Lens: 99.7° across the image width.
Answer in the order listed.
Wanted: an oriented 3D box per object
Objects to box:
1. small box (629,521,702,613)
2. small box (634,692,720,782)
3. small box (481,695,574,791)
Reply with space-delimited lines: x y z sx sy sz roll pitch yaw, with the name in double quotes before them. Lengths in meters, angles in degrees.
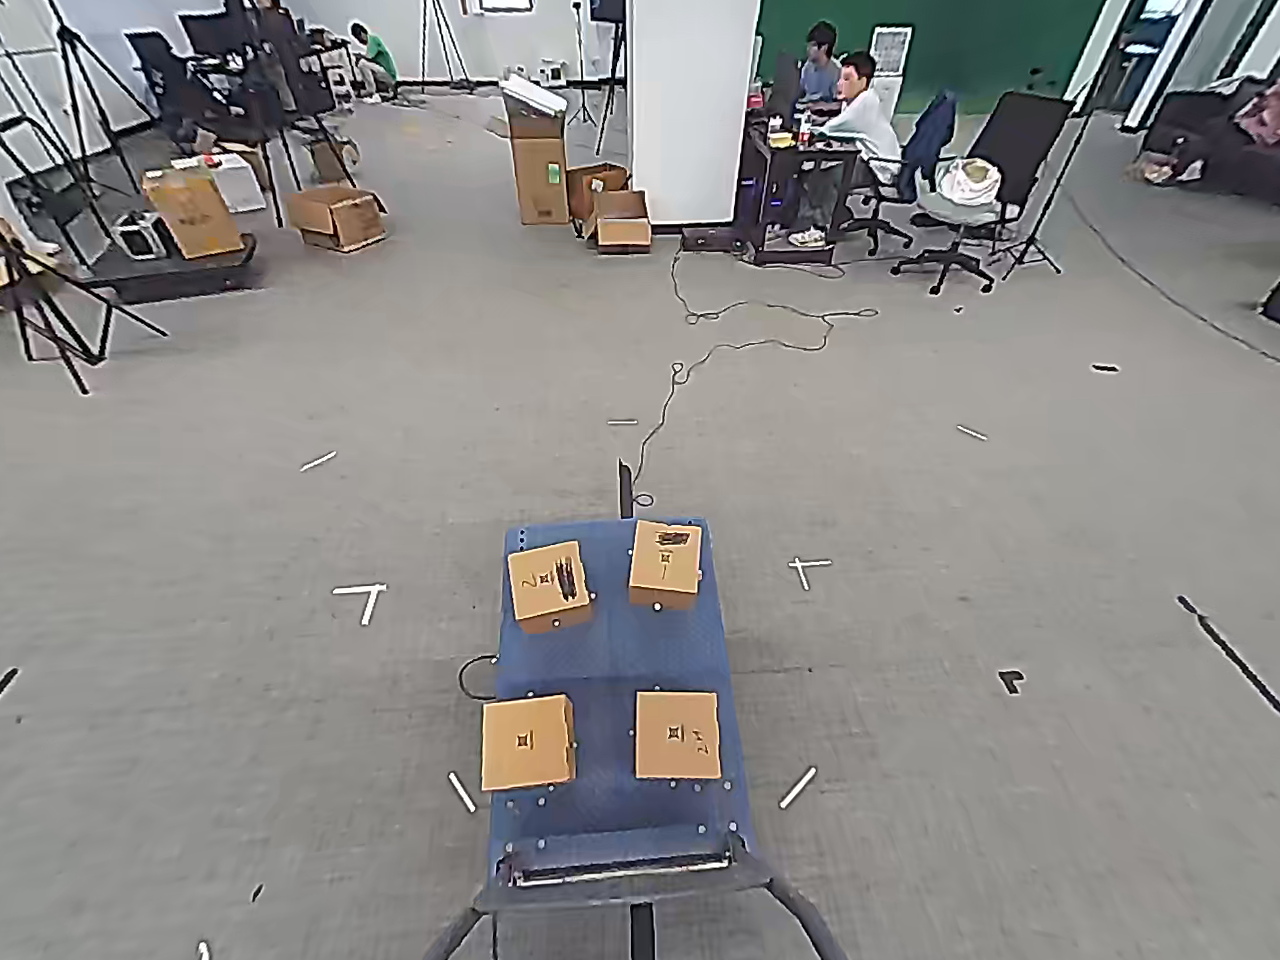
"small box" 0.063 0.226 1.393 0.168 0.176 0.179 7 61 2
"small box" 0.076 0.571 1.197 0.179 0.176 0.168 2 61 -1
"small box" -0.242 0.579 1.184 0.179 0.176 0.168 -4 61 -6
